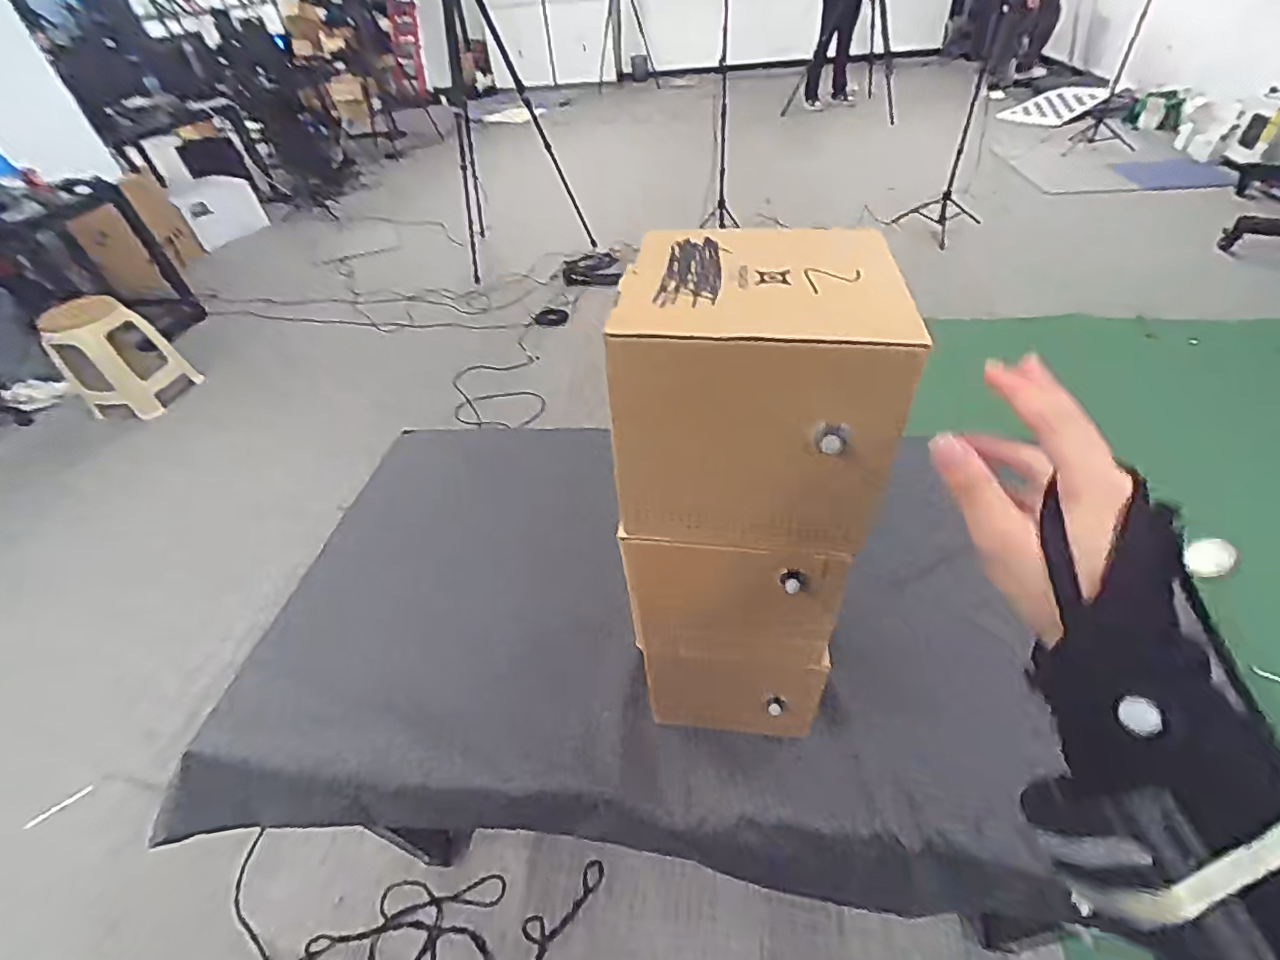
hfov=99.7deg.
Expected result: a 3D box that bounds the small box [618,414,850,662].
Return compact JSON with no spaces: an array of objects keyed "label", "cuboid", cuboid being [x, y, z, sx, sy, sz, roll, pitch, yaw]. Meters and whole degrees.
[{"label":"small box","cuboid":[0.087,0.054,0.514,0.179,0.176,0.168,3,43,9]}]

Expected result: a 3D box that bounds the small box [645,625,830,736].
[{"label":"small box","cuboid":[0.108,0.175,0.621,0.179,0.176,0.168,1,43,9]}]
